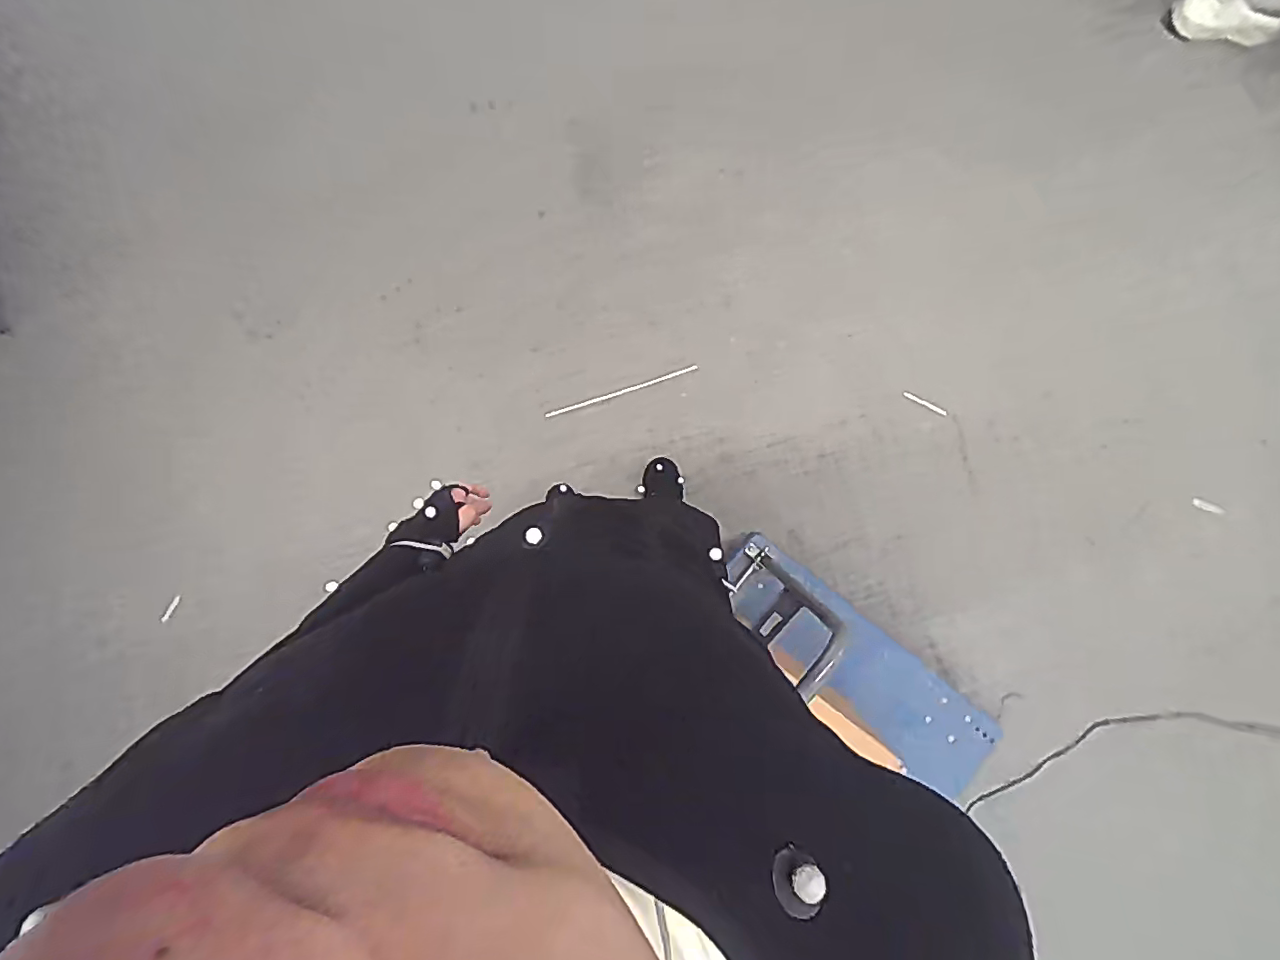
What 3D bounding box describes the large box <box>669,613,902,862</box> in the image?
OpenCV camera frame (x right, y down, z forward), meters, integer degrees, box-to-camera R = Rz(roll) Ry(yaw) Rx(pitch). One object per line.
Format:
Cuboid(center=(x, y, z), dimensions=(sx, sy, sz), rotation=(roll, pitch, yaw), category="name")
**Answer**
Cuboid(center=(0.322, 0.593, 1.321), dimensions=(0.408, 0.320, 0.320), rotation=(38, 92, -1), category="large box")
